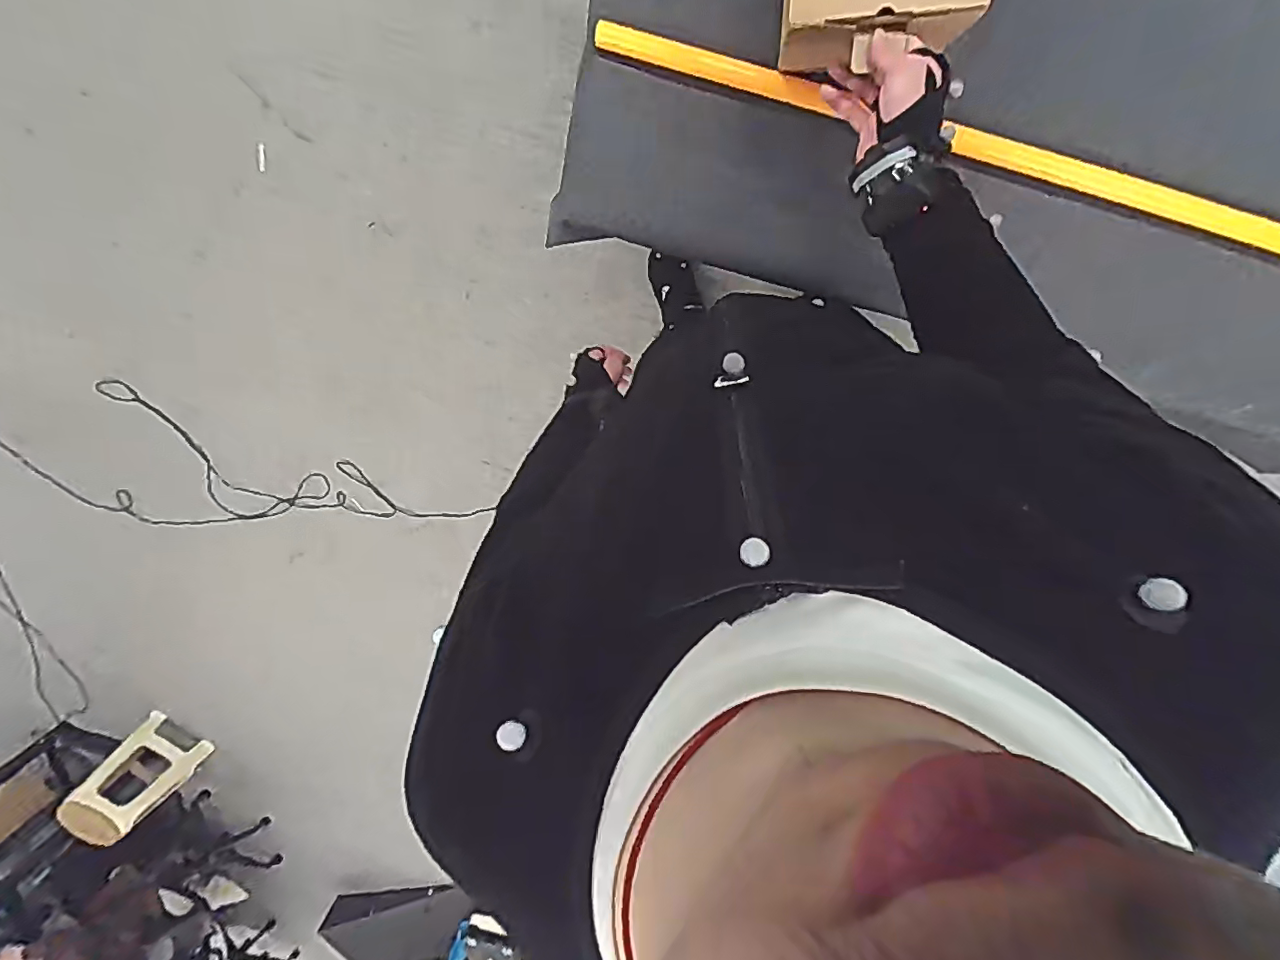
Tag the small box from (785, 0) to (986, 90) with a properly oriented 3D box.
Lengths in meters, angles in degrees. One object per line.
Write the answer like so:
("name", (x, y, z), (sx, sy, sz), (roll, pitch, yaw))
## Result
("small box", (0.229, -0.500, 0.519), (0.168, 0.176, 0.179), (2, 113, 13))
